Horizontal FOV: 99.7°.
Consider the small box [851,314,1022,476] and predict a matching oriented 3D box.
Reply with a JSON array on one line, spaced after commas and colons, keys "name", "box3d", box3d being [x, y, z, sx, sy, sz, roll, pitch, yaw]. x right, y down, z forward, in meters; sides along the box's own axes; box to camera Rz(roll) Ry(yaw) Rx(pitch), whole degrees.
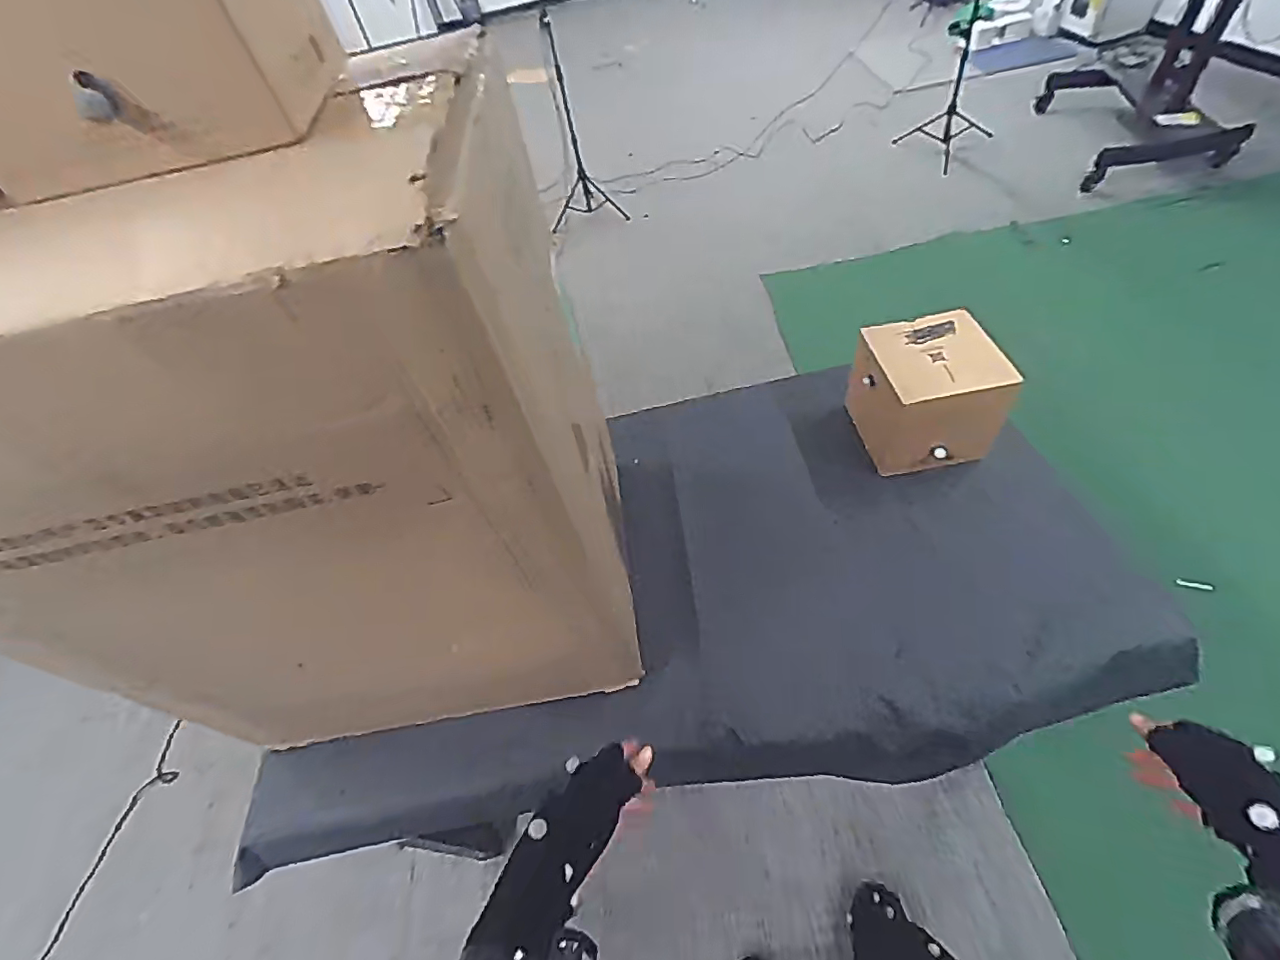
[{"name": "small box", "box3d": [0.452, -0.132, 0.864, 0.168, 0.176, 0.179, -10, 51, 4]}]

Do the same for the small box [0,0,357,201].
[{"name": "small box", "box3d": [-0.295, -0.291, 0.309, 0.179, 0.176, 0.168, -12, 52, 0]}]
